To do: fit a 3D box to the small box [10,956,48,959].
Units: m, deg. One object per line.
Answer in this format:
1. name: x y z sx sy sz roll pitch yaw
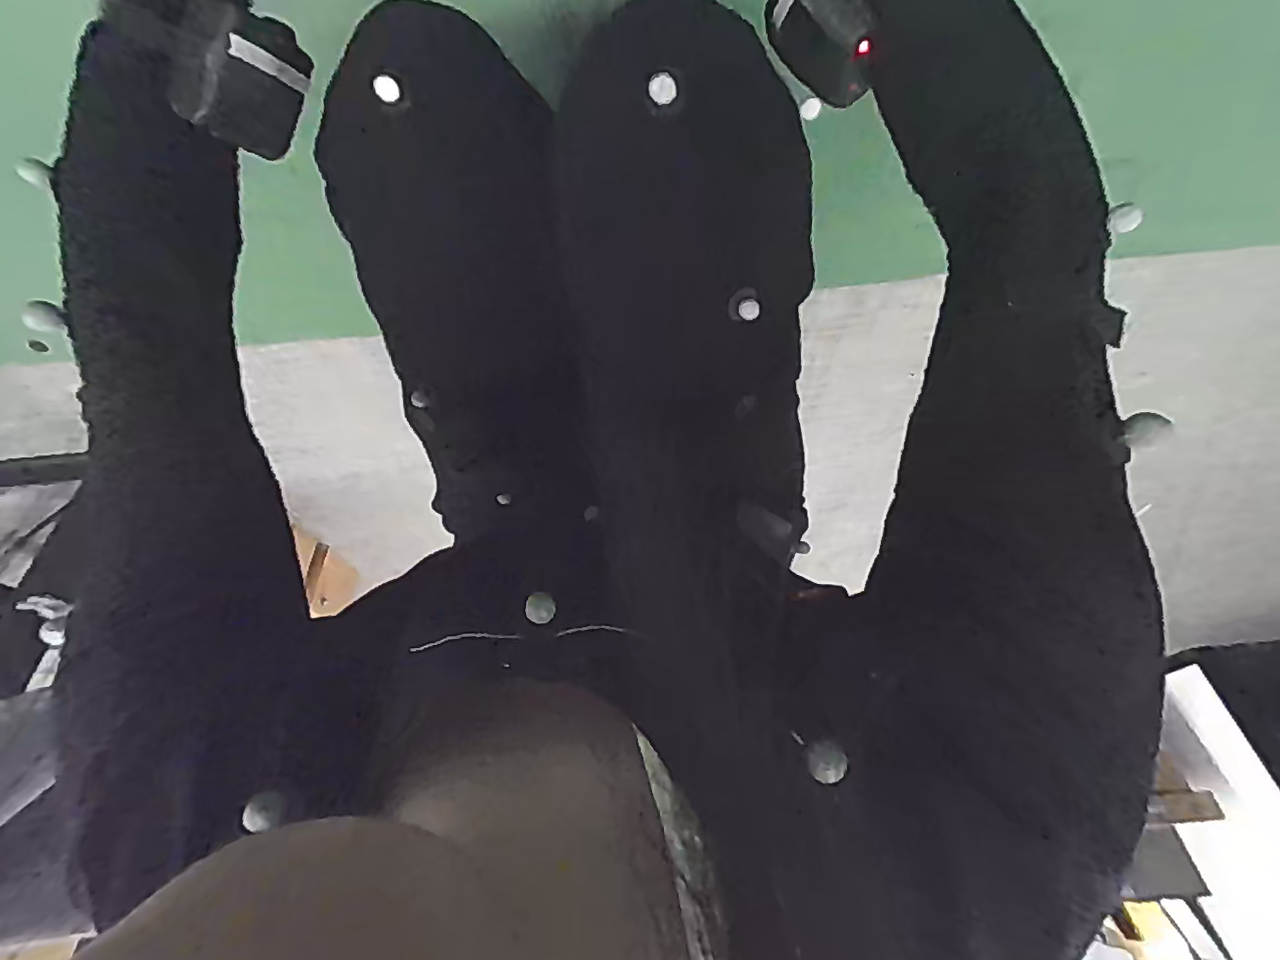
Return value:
1. small box: -1.050 0.827 0.797 0.179 0.176 0.168 -8 145 1
